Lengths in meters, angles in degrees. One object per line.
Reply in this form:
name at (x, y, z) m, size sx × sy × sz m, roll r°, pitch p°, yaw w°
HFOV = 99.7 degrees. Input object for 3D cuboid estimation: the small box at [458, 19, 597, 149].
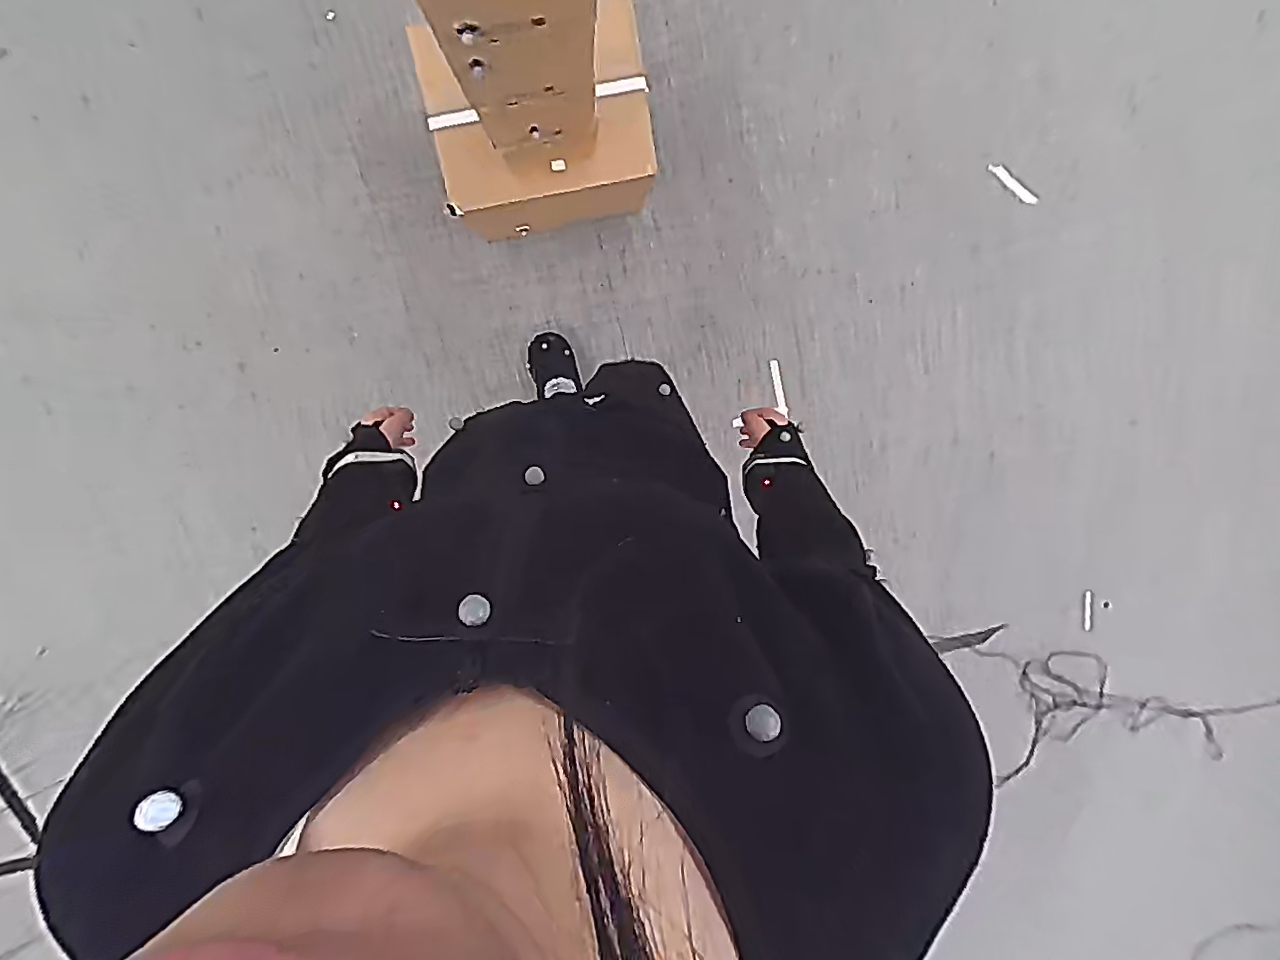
small box at (-0.162, -0.607, 0.770) m, size 0.168 × 0.176 × 0.179 m, roll -14°, pitch 107°, yaw -1°

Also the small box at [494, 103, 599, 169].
small box at (-0.174, -0.657, 0.924) m, size 0.179 × 0.176 × 0.168 m, roll -15°, pitch 107°, yaw -2°

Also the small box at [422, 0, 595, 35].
small box at (-0.131, -0.517, 0.456) m, size 0.168 × 0.176 × 0.179 m, roll -12°, pitch 106°, yaw -2°
